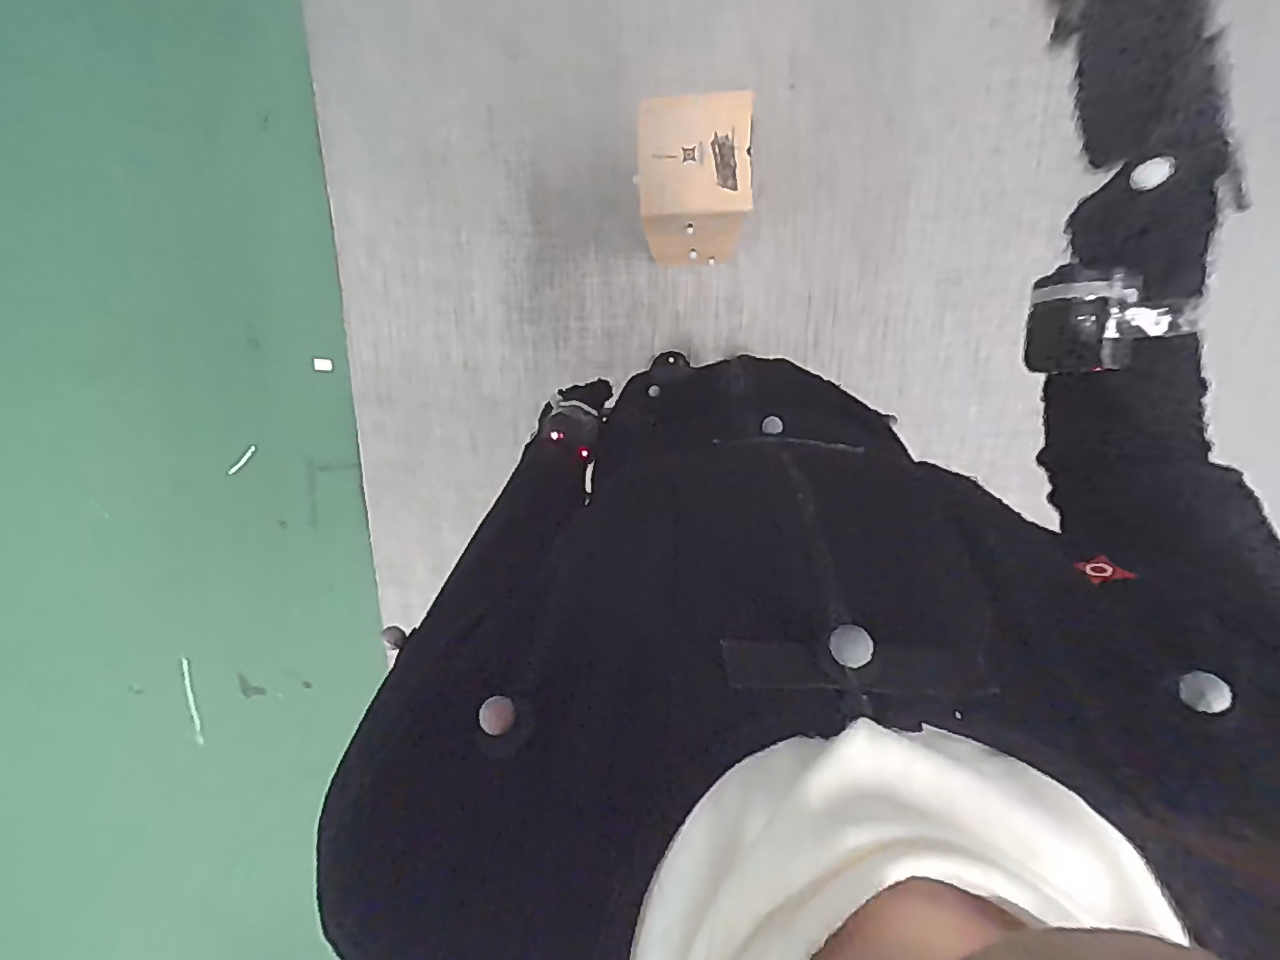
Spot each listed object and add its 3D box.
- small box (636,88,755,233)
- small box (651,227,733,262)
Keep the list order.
[{"bbox_3d":[0.087,-0.519,0.899,0.179,0.176,0.168,2,101,4],"label":"small box"},{"bbox_3d":[0.115,-0.595,1.220,0.179,0.176,0.168,-1,103,6],"label":"small box"}]
